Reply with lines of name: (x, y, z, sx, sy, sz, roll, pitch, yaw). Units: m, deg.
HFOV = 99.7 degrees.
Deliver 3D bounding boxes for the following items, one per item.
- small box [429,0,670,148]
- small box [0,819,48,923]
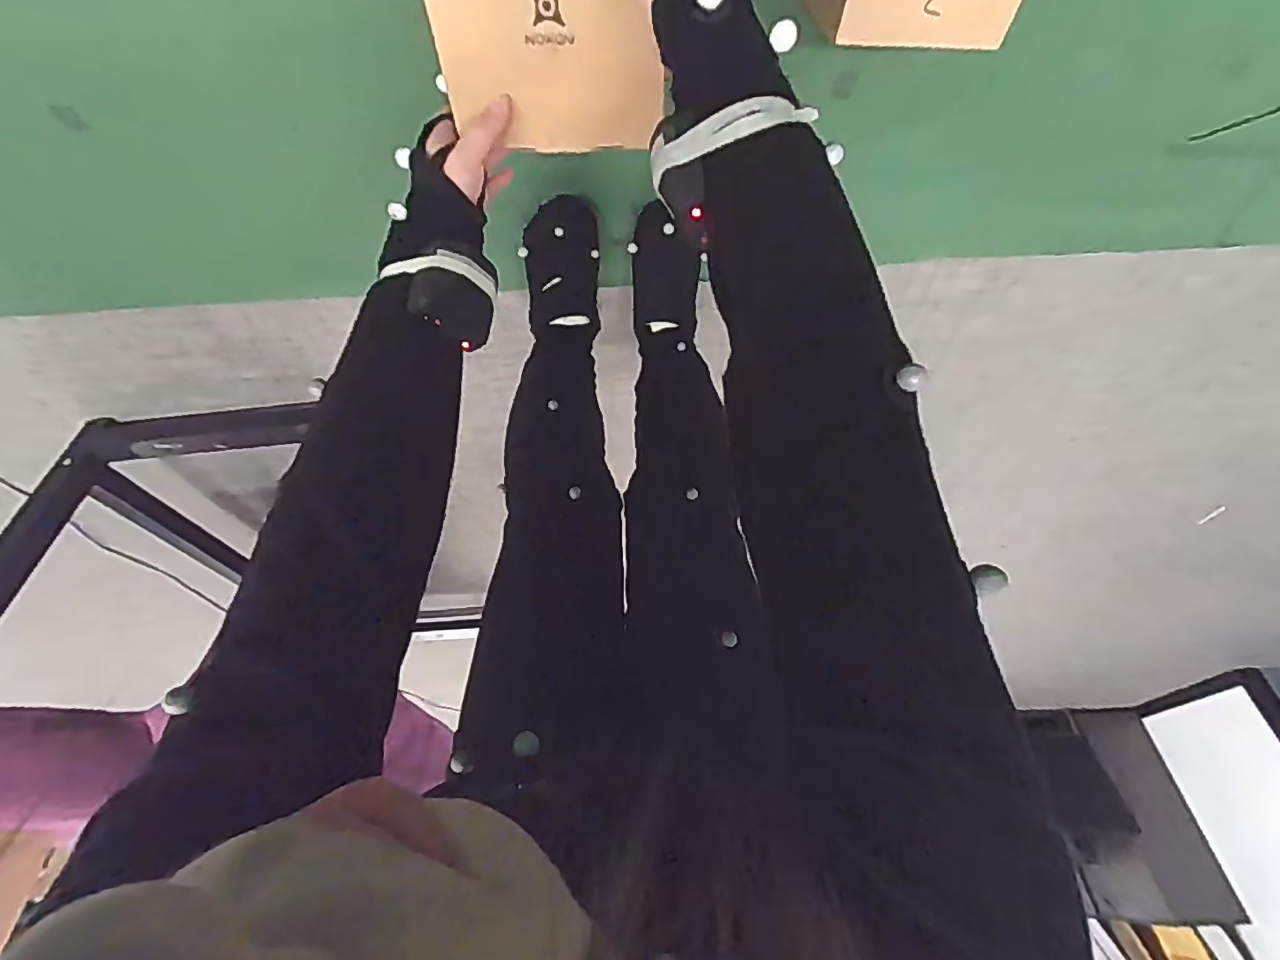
small box: (-0.064, -0.387, 0.418, 0.168, 0.176, 0.179, -1, 145, -1)
small box: (-0.998, 0.564, 0.735, 0.179, 0.176, 0.168, -5, 145, 0)
